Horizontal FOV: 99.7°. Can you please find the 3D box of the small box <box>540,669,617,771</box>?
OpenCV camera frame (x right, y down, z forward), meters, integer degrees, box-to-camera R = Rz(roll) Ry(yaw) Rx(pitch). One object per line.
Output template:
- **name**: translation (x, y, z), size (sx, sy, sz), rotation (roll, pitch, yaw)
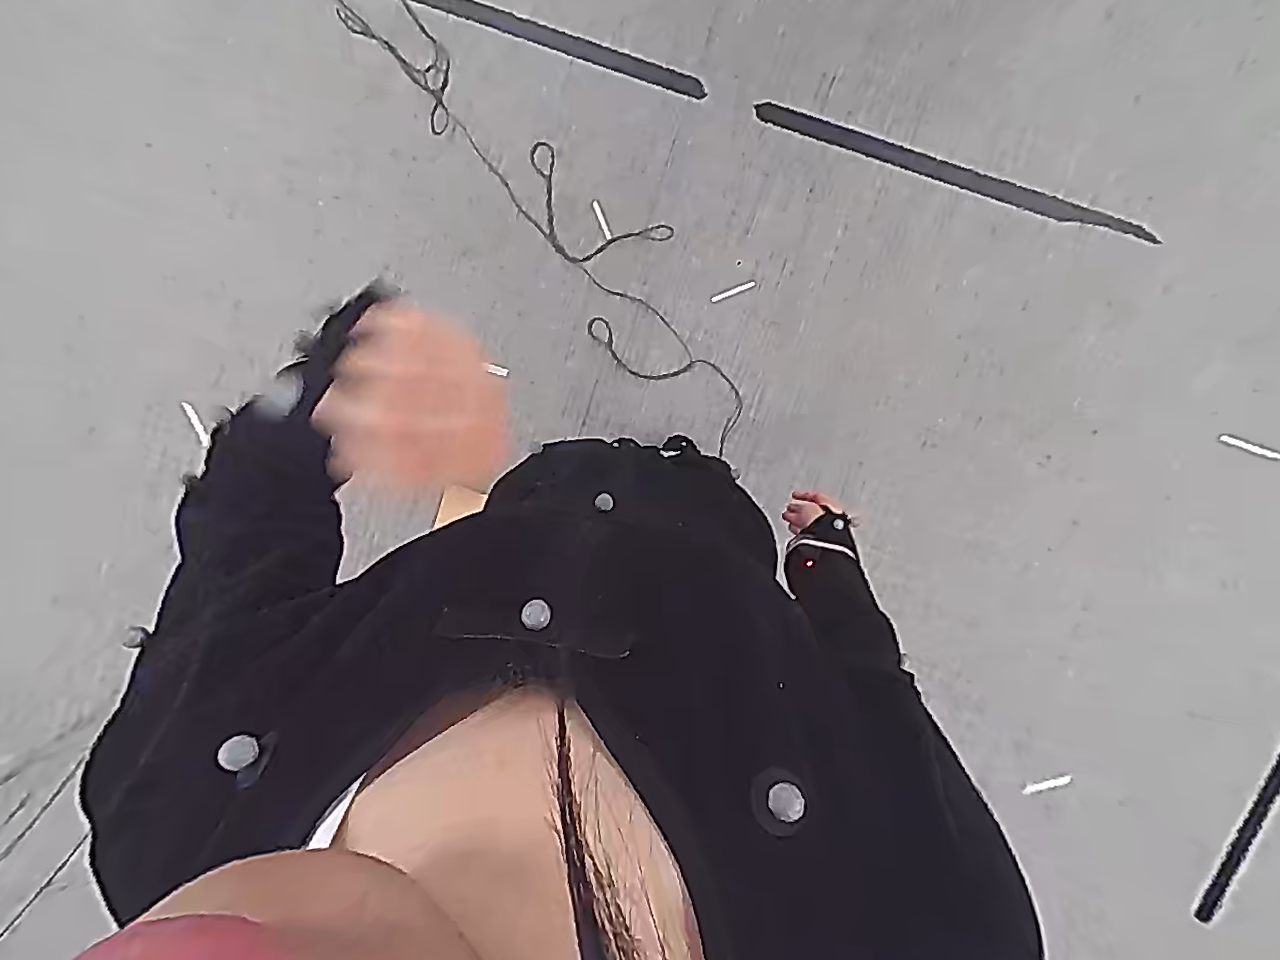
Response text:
- **small box**: translation (-0.160, 0.642, 1.461), size (0.168, 0.176, 0.179), rotation (10, 95, 2)
